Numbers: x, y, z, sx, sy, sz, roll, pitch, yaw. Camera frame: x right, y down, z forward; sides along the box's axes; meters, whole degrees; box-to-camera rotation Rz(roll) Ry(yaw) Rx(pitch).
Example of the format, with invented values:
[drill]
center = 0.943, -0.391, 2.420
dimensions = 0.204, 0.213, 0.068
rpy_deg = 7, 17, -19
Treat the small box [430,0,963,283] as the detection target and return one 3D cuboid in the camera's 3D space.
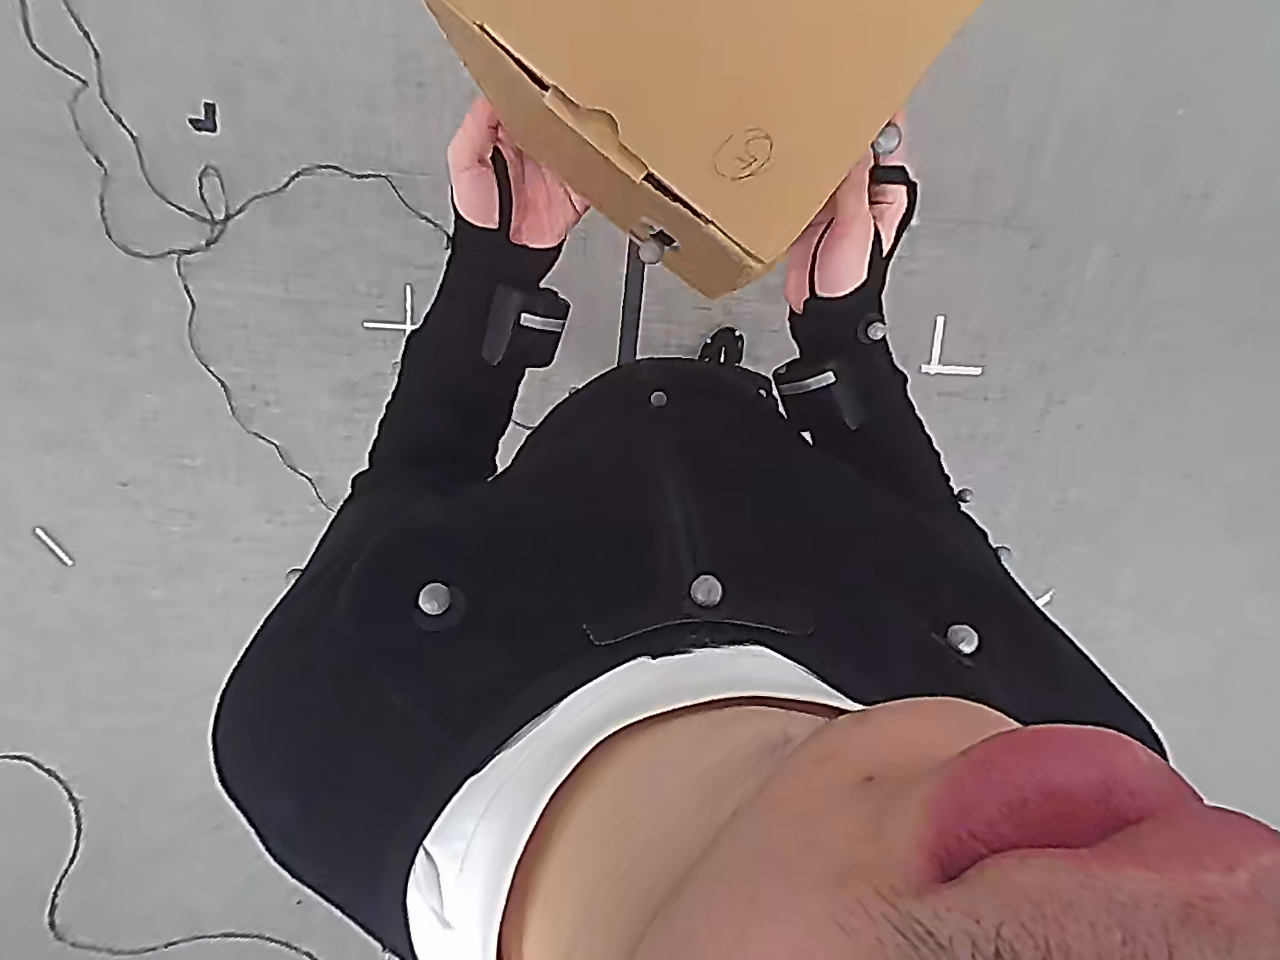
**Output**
[small box]
center = 0.035, -0.220, 0.267
dimensions = 0.168, 0.176, 0.179
rpy_deg = 35, 101, -10
